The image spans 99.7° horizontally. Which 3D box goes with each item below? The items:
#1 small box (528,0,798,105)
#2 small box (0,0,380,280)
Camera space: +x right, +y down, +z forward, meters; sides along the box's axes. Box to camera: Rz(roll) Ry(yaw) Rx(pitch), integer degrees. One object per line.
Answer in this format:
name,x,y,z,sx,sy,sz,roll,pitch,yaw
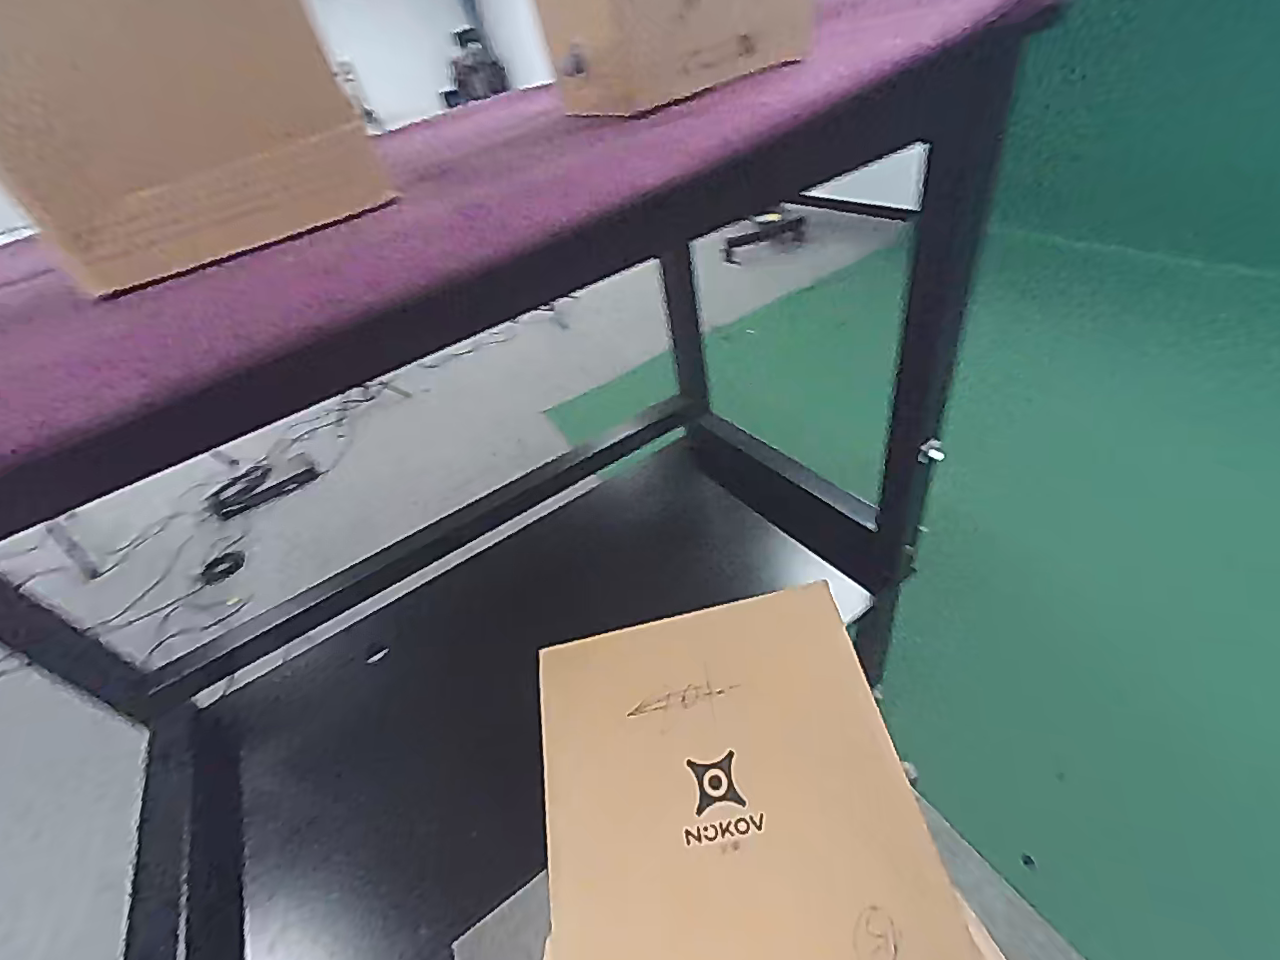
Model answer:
small box,0.007,-0.414,0.424,0.168,0.176,0.179,-27,40,-12
small box,-0.287,-0.234,0.313,0.179,0.176,0.168,-30,42,-18
